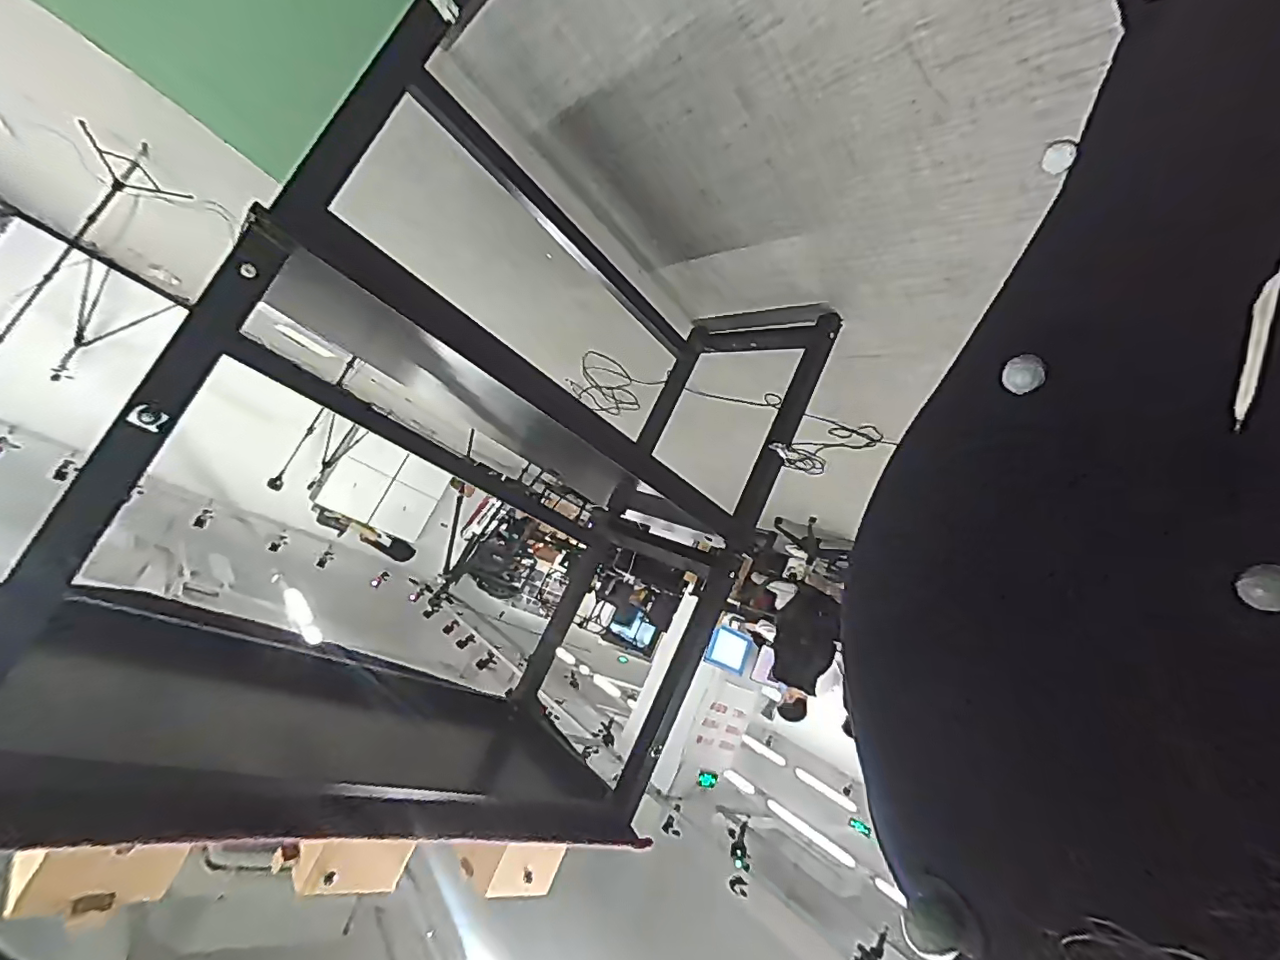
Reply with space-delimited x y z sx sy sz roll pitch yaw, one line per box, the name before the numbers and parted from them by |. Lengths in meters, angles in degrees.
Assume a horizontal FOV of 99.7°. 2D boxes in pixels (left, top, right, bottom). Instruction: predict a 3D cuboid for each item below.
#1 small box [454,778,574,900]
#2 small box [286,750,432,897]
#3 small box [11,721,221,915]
small box | -0.283 0.811 1.232 0.179 0.176 0.168 35 164 -38
small box | -0.527 0.642 1.024 0.179 0.176 0.168 35 167 -38
small box | -0.764 0.483 0.801 0.179 0.176 0.168 18 168 43
